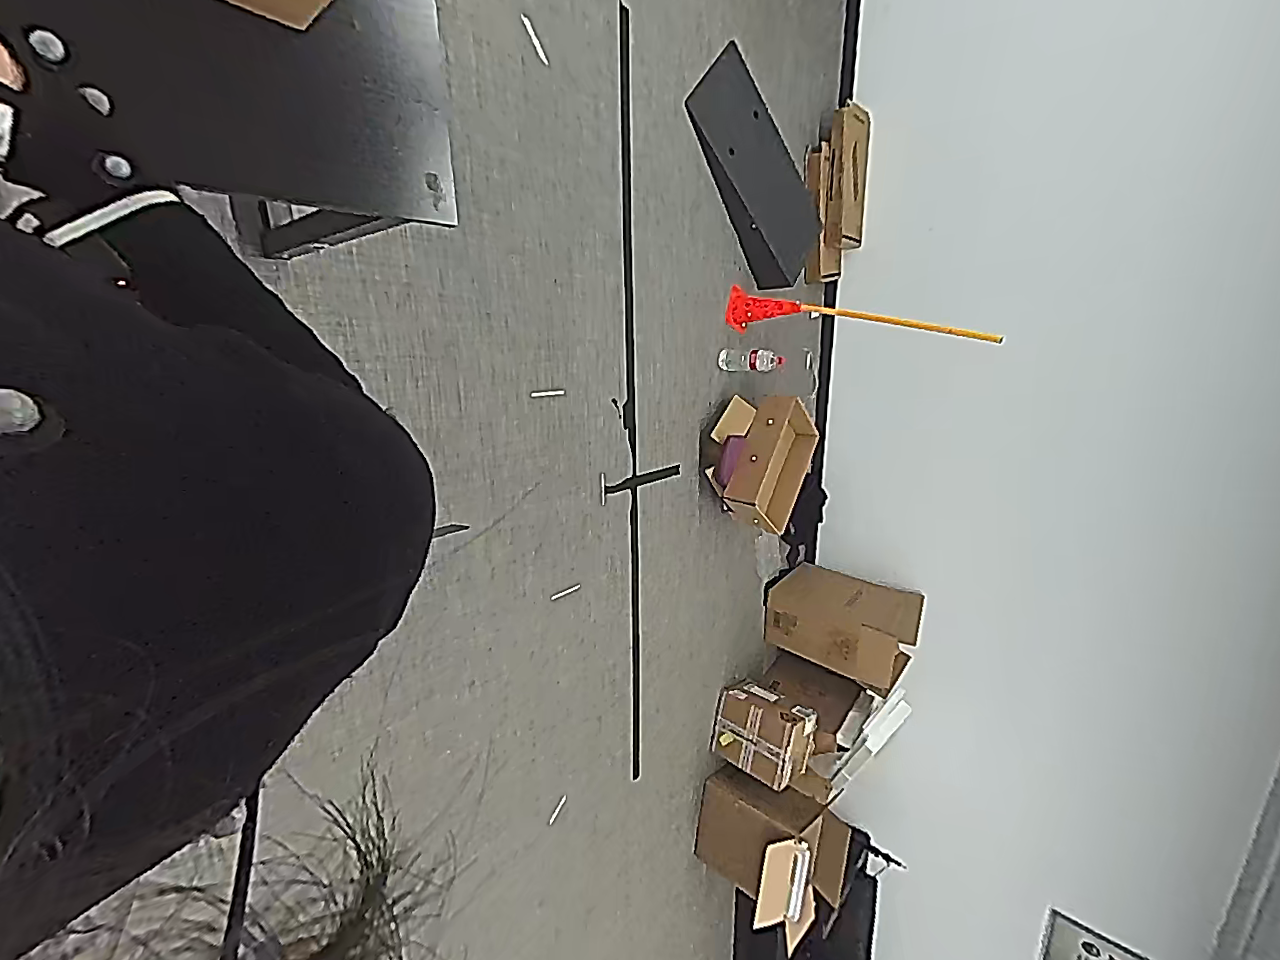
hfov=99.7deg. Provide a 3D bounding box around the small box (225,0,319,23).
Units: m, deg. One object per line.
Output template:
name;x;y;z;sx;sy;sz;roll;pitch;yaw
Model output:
small box;-0.404;-0.593;0.521;0.179;0.176;0.168;-15;110;-48
